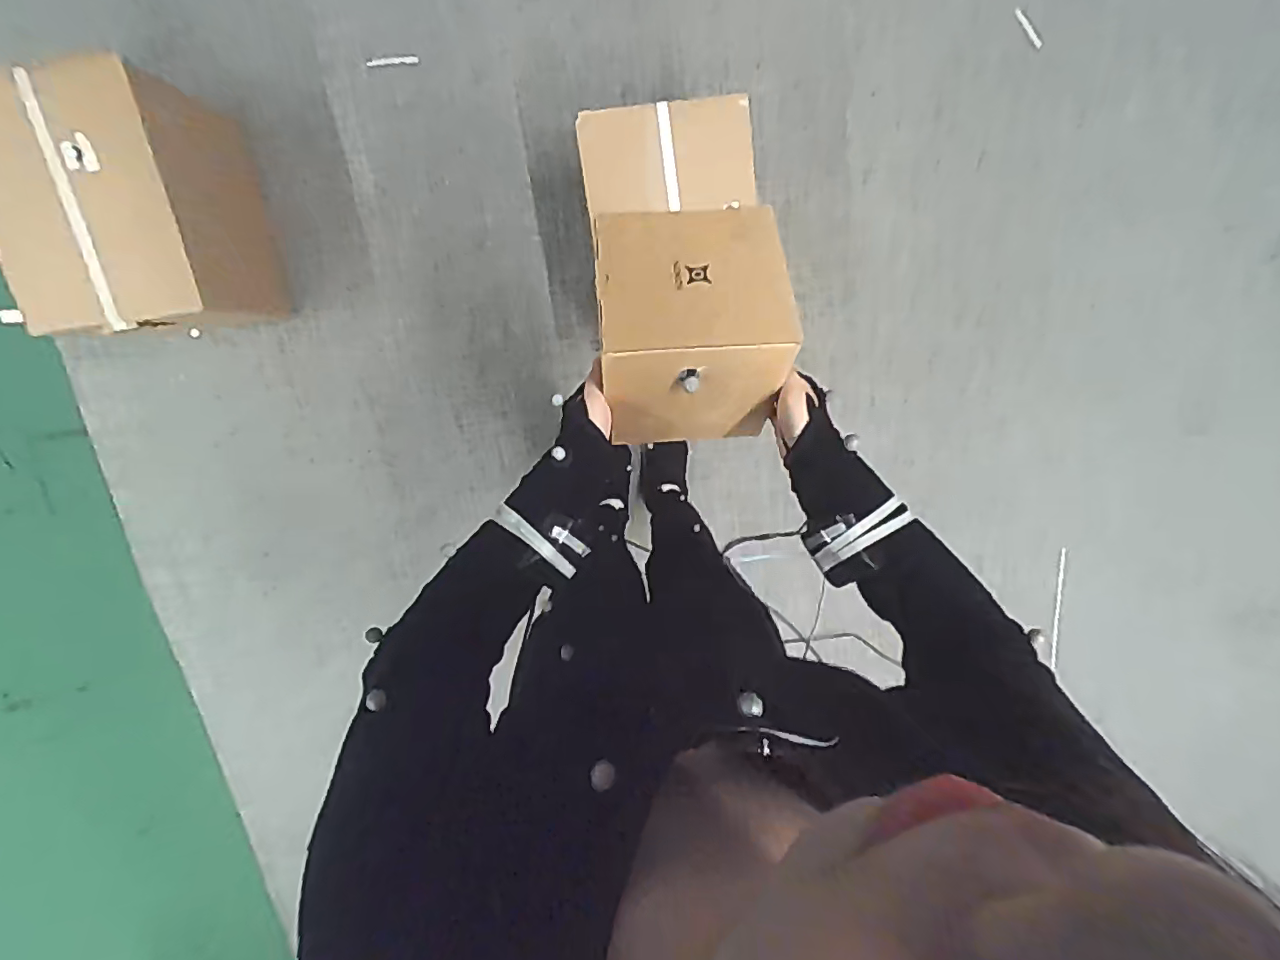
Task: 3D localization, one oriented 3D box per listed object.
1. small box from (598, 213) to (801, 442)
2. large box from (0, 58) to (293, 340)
[{"bbox_3d":[0.049,-0.153,0.573,0.179,0.176,0.168,-4,66,-2],"label":"small box"},{"bbox_3d":[-0.970,-0.503,1.060,0.320,0.320,0.408,-9,104,-2],"label":"large box"}]
